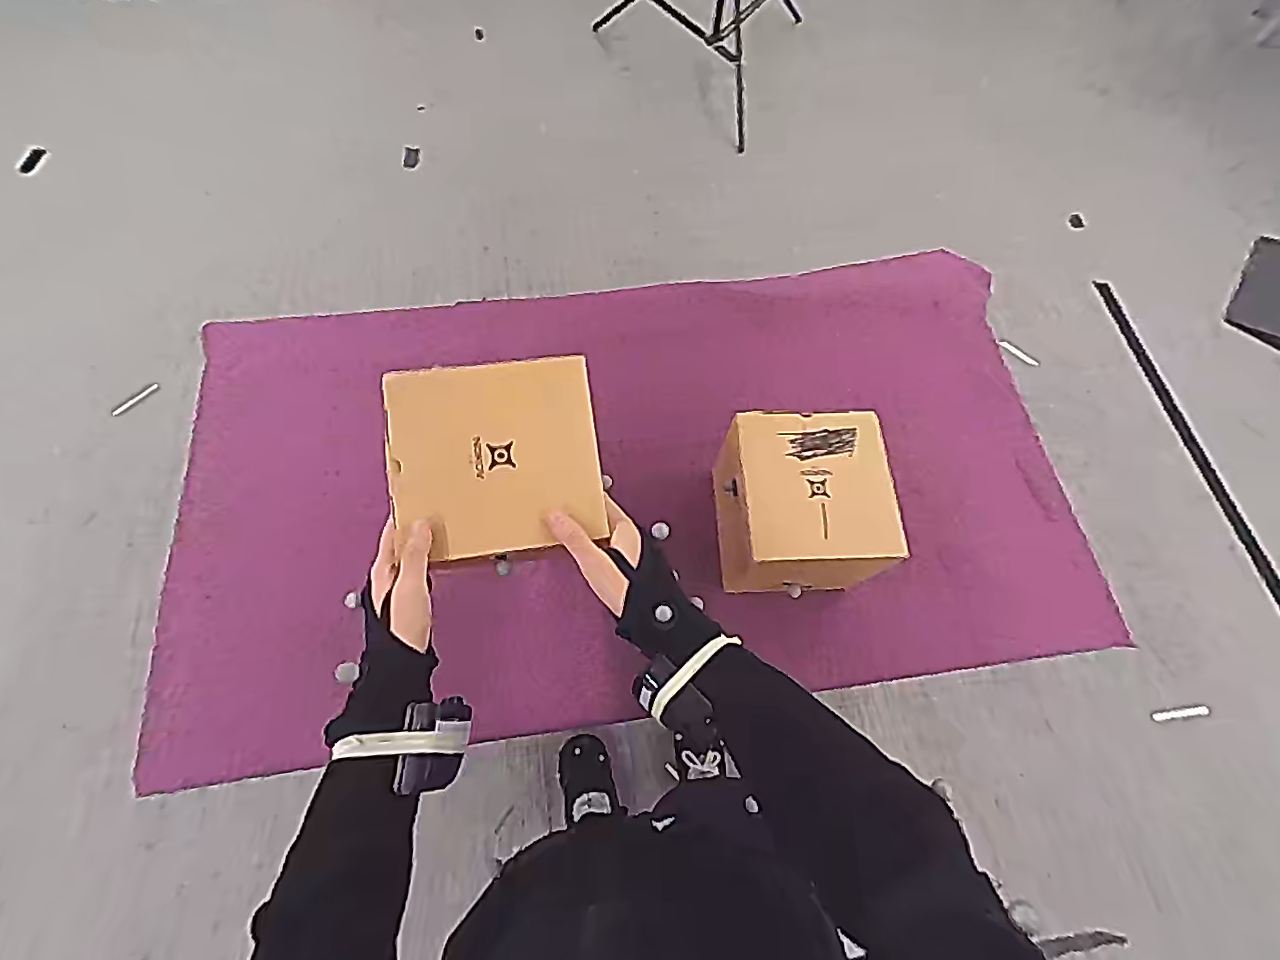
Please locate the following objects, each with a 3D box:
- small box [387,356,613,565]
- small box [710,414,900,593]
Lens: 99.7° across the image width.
[{"bbox_3d":[-0.128,-0.009,0.533,0.179,0.176,0.168,-7,81,-8],"label":"small box"},{"bbox_3d":[0.185,0.035,0.667,0.168,0.176,0.179,-1,68,-3],"label":"small box"}]
